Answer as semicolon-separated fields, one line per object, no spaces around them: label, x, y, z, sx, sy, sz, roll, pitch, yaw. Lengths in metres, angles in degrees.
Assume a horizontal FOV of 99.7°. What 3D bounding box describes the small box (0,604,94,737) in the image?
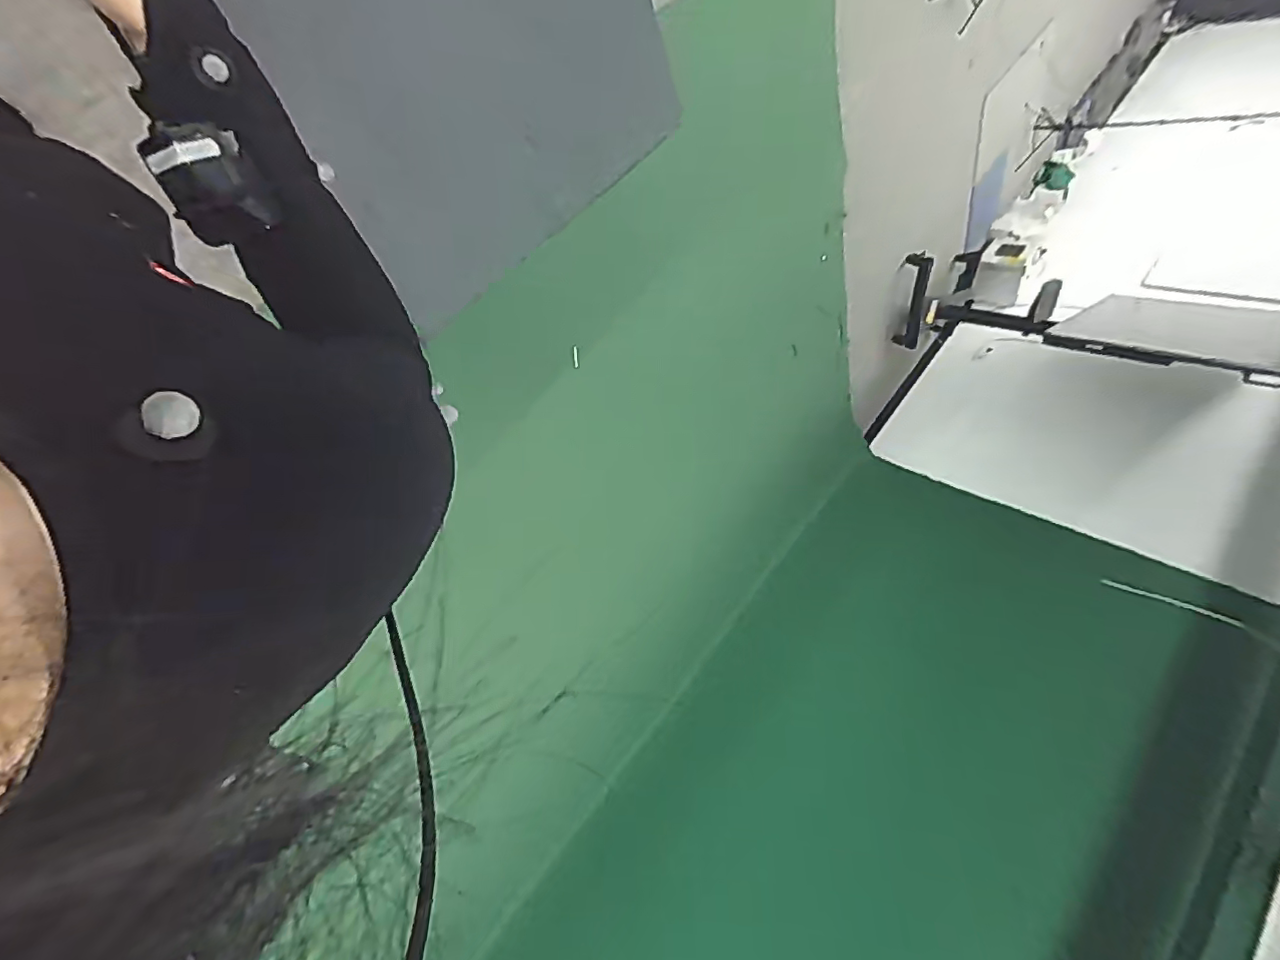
small box;-1.256;0.384;1.094;0.179;0.176;0.168;-20;127;-42

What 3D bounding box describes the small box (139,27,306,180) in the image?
small box;-0.769;-0.684;0.996;0.179;0.176;0.168;-51;142;-13
